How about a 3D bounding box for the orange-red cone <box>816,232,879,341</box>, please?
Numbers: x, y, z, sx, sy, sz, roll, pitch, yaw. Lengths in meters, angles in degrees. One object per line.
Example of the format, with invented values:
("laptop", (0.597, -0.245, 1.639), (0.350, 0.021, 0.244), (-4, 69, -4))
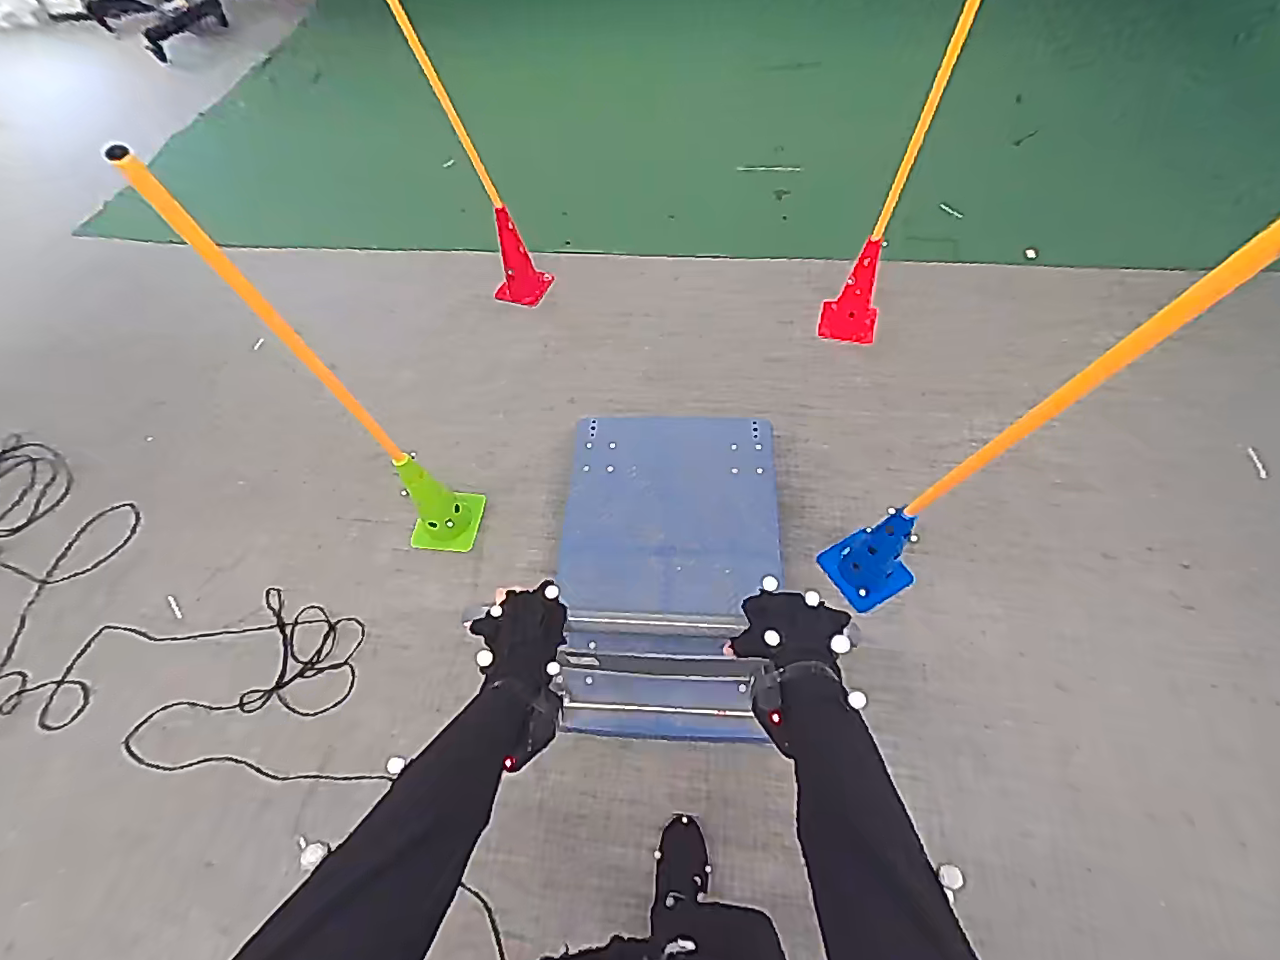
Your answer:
("orange-red cone", (0.755, -0.684, 1.865), (0.198, 0.360, 0.199), (14, 62, 13))
